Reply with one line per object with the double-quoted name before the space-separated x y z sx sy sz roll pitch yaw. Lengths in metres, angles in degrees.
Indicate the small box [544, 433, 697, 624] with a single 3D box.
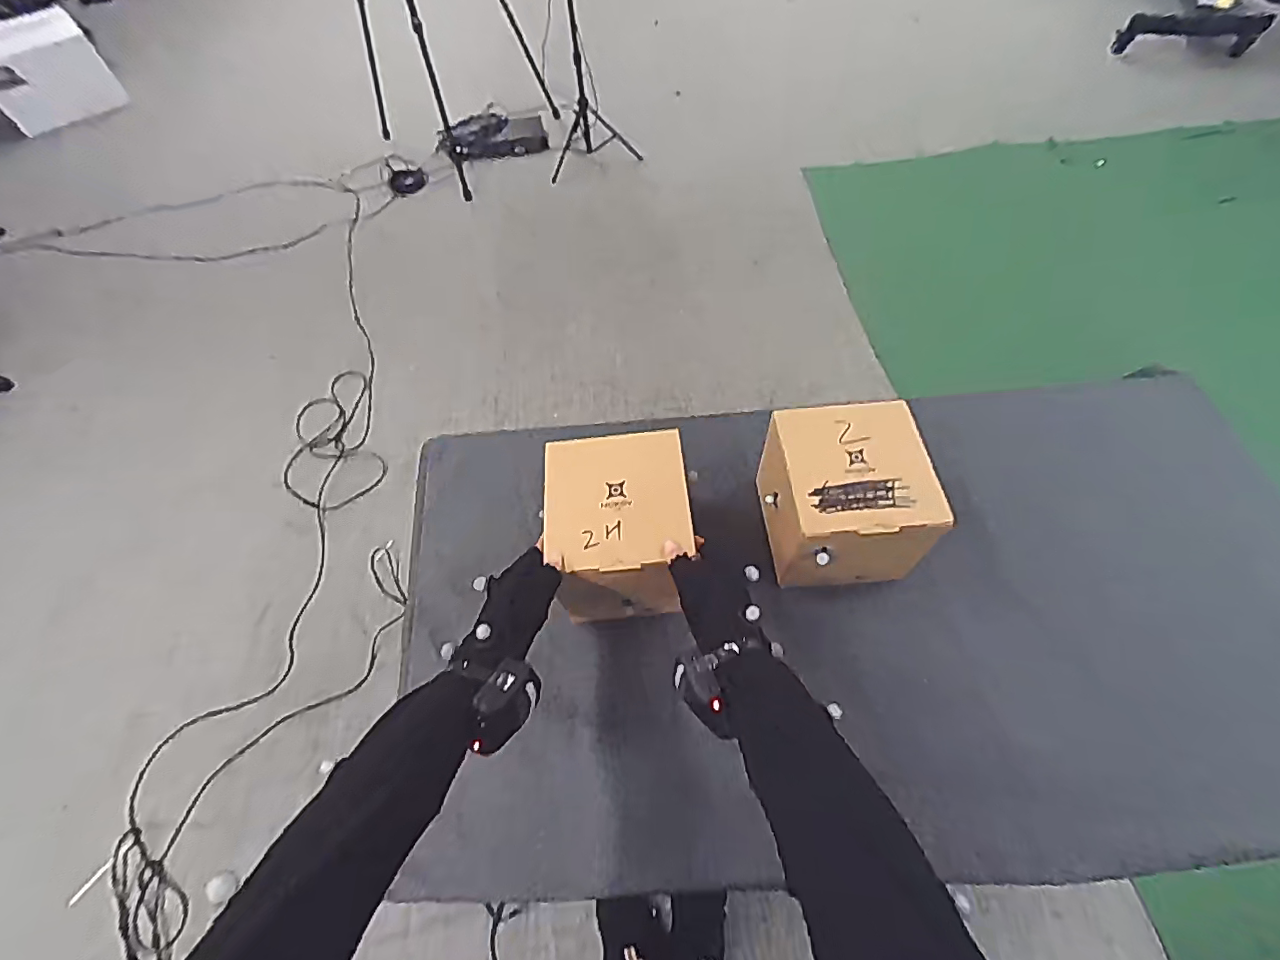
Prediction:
"small box" -0.021 0.065 0.682 0.168 0.176 0.179 -6 58 1
